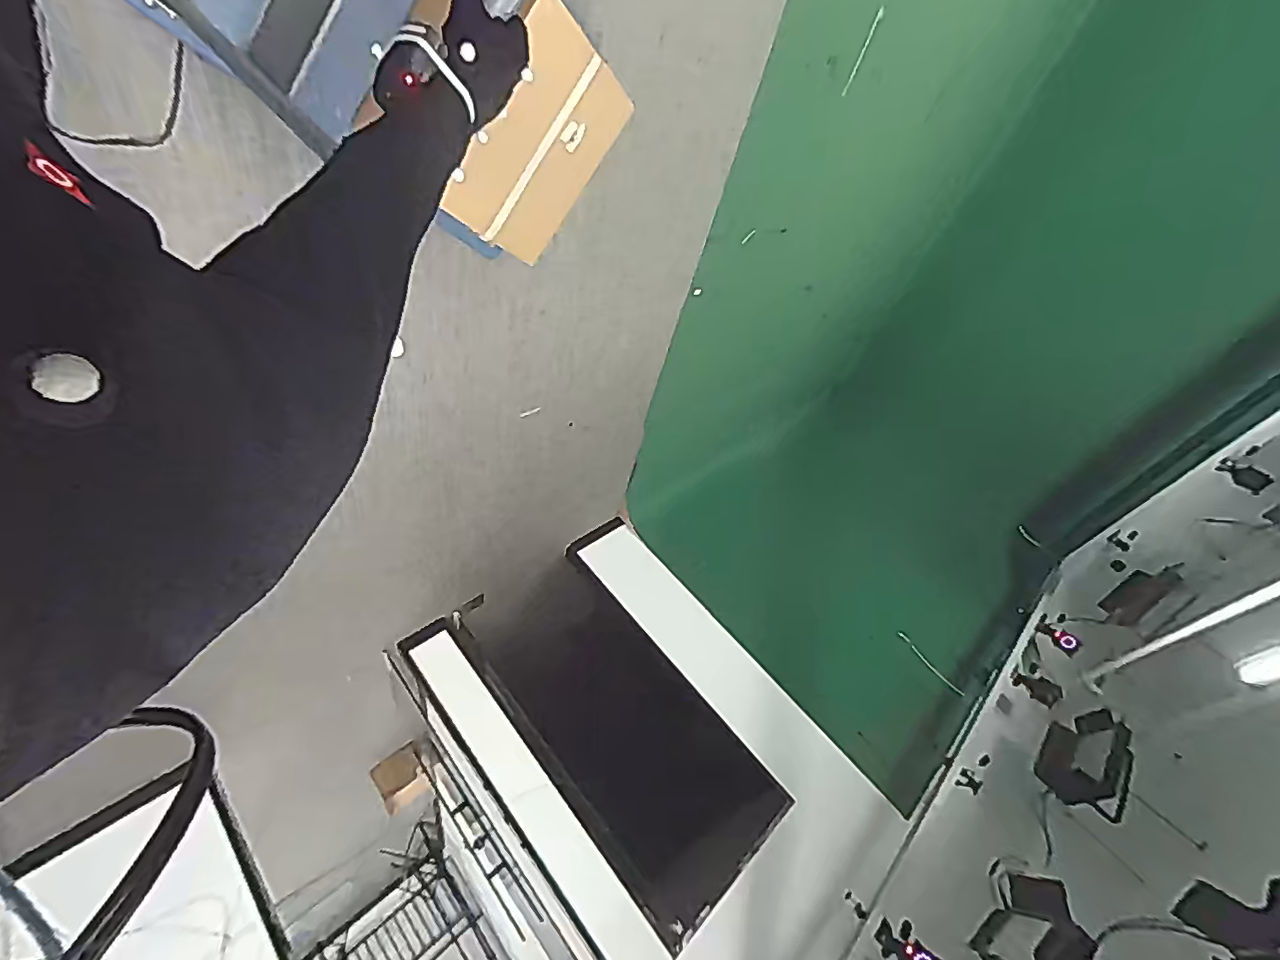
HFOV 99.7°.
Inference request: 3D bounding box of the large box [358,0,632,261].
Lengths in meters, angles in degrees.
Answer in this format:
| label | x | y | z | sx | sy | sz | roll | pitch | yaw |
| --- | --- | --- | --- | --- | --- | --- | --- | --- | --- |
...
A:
| label | x | y | z | sx | sy | sz | roll | pitch | yaw |
| --- | --- | --- | --- | --- | --- | --- | --- | --- | --- |
| large box | -0.300 | -0.756 | 1.121 | 0.408 | 0.320 | 0.320 | -52 | 157 | 15 |
